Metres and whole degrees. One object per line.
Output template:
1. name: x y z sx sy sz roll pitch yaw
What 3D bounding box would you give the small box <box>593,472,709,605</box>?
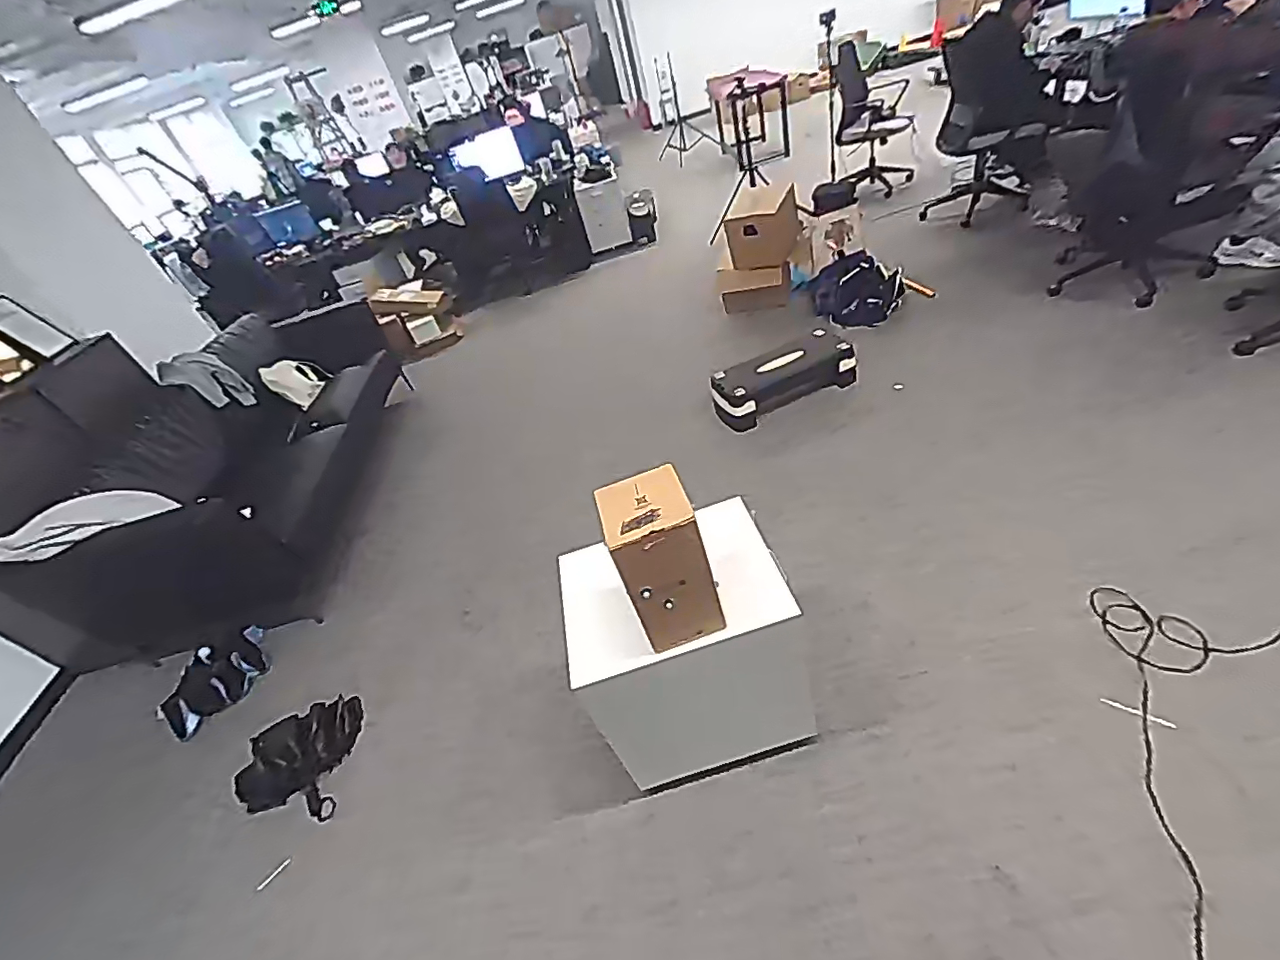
1. small box: 0.023 0.119 1.054 0.168 0.176 0.179 -20 36 -1

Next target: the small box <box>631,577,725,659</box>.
1. small box: 0.067 0.244 1.153 0.168 0.176 0.179 -21 36 -1
